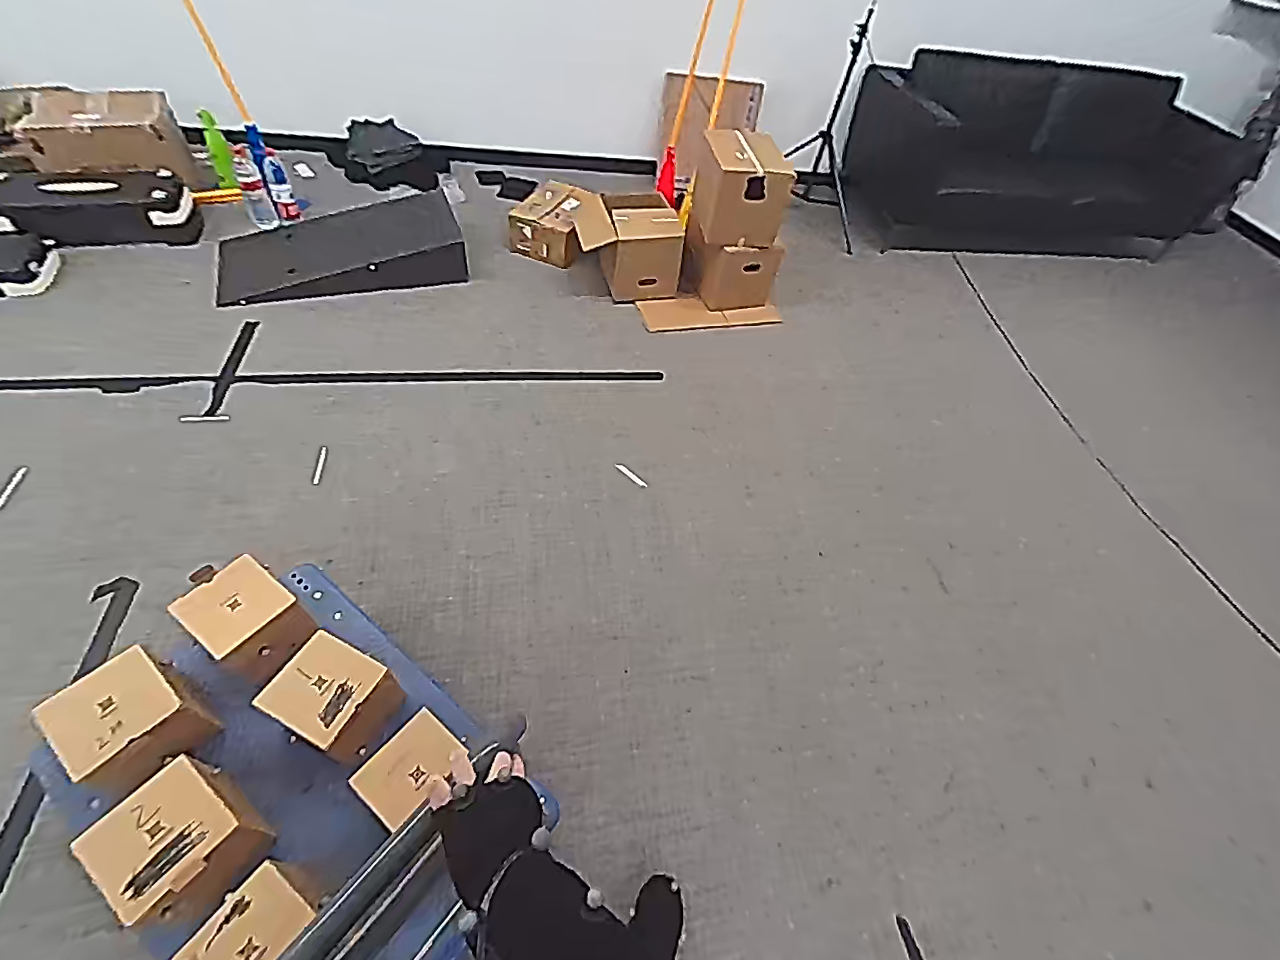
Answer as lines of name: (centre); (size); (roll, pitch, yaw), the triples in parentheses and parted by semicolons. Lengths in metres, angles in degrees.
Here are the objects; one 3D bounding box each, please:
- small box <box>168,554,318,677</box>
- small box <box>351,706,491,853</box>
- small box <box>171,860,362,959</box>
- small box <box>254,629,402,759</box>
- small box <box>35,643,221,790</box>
small box: (-0.837, 0.298, 1.160); (0.179, 0.176, 0.168); (32, 54, 15)
small box: (-0.403, 0.572, 1.026); (0.179, 0.176, 0.168); (35, 53, 17)
small box: (-0.578, 0.742, 0.855); (0.179, 0.176, 0.168); (32, 52, 14)
small box: (-0.613, 0.438, 1.091); (0.179, 0.176, 0.168); (24, 51, 10)
small box: (-0.947, 0.448, 1.016); (0.179, 0.176, 0.168); (37, 55, 17)
